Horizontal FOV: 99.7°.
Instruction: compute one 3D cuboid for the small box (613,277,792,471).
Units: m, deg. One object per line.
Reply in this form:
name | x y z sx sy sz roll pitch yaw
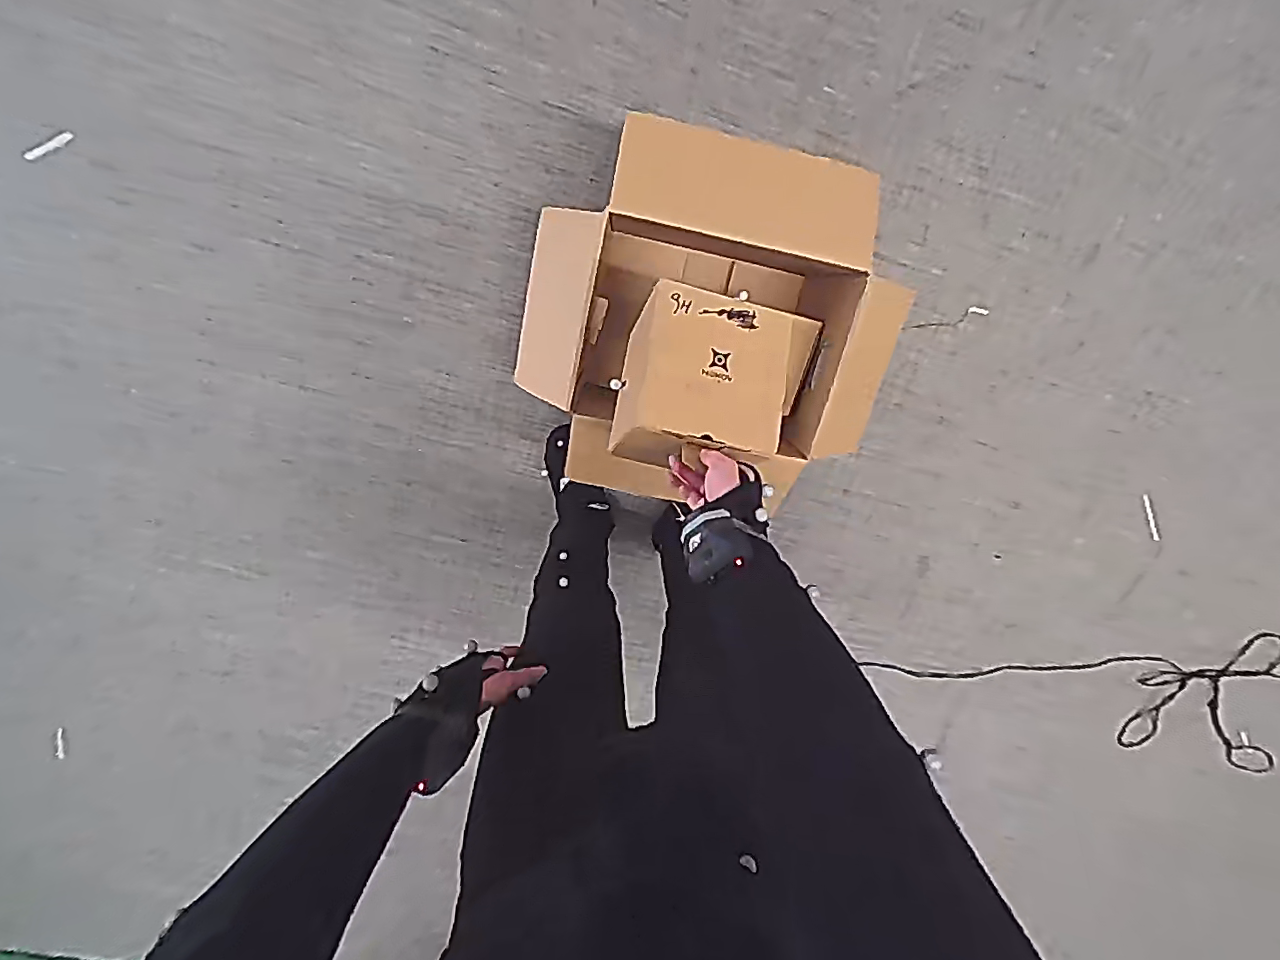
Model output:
small box | 0.067 -0.117 0.681 0.168 0.176 0.179 12 80 -11
